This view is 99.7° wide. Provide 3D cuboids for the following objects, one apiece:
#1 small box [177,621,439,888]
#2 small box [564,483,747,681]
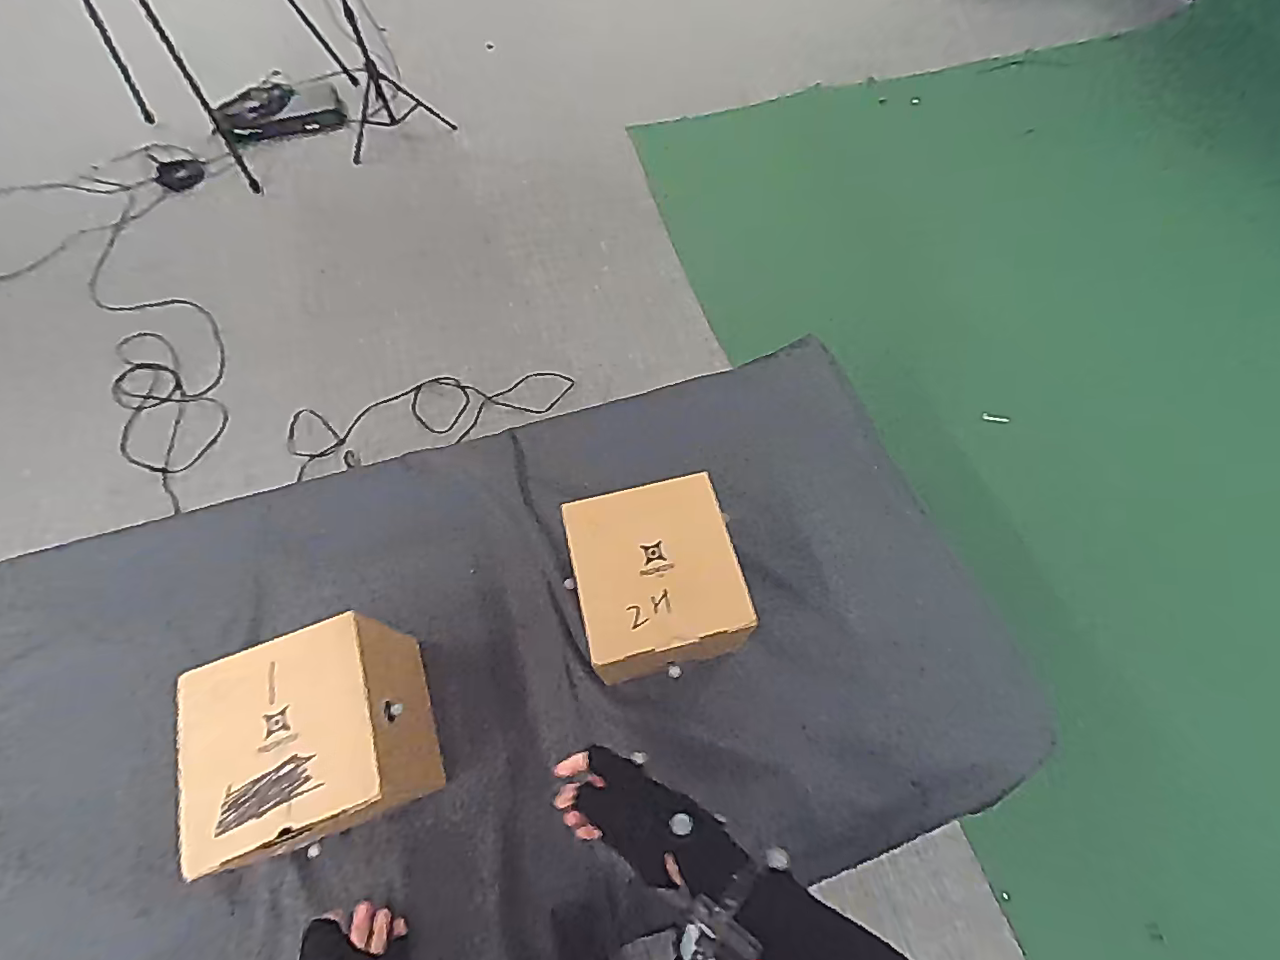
[{"bbox_3d":[-0.327,0.271,0.558,0.168,0.176,0.179,-20,64,-9],"label":"small box"},{"bbox_3d":[0.008,0.124,0.629,0.168,0.176,0.179,-10,68,-6],"label":"small box"}]
